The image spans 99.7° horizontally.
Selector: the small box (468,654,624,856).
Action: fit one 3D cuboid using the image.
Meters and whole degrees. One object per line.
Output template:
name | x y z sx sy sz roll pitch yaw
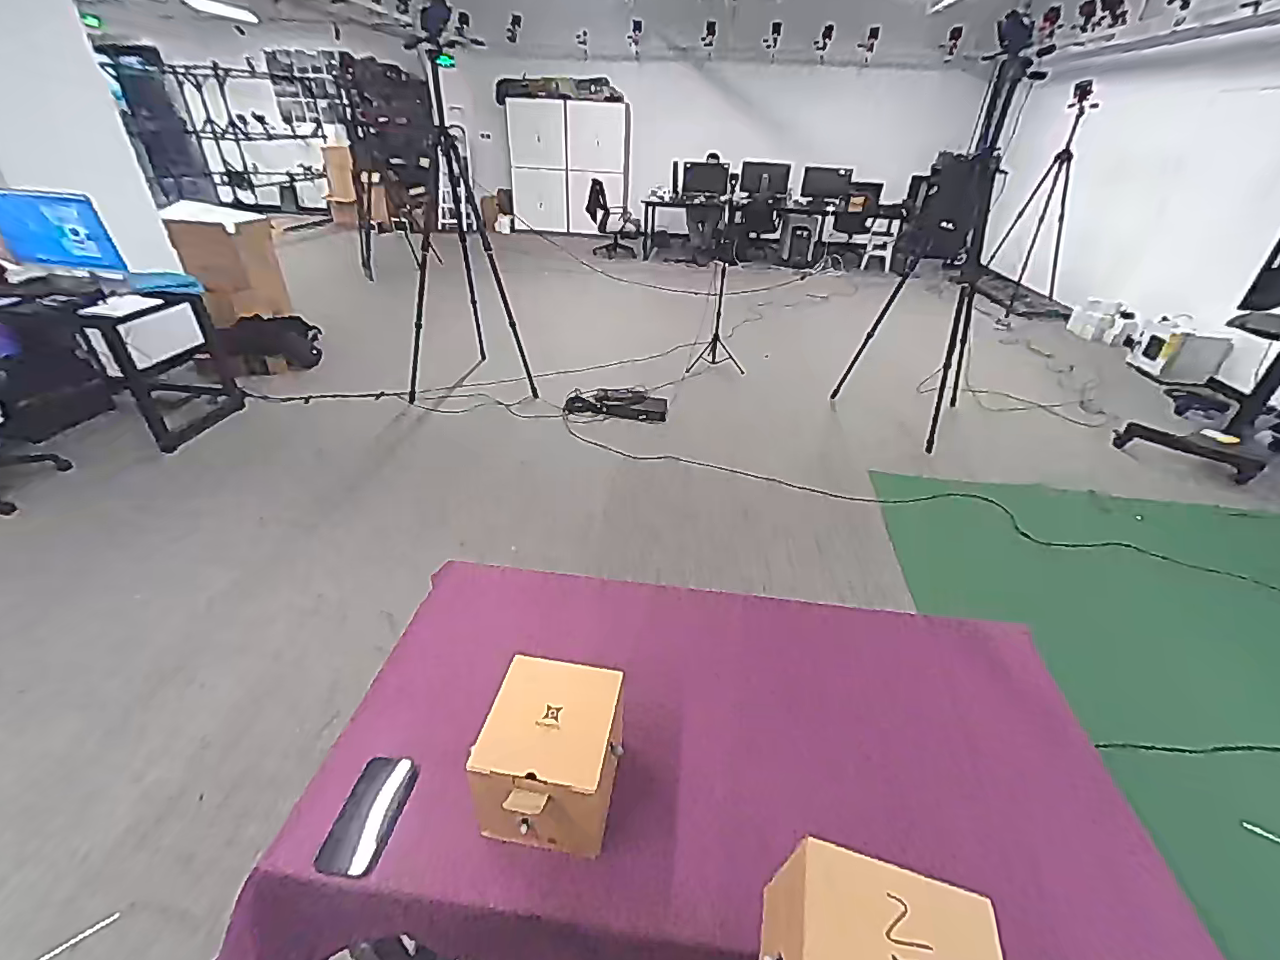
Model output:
small box | -0.123 0.381 0.760 0.168 0.176 0.179 8 33 7
